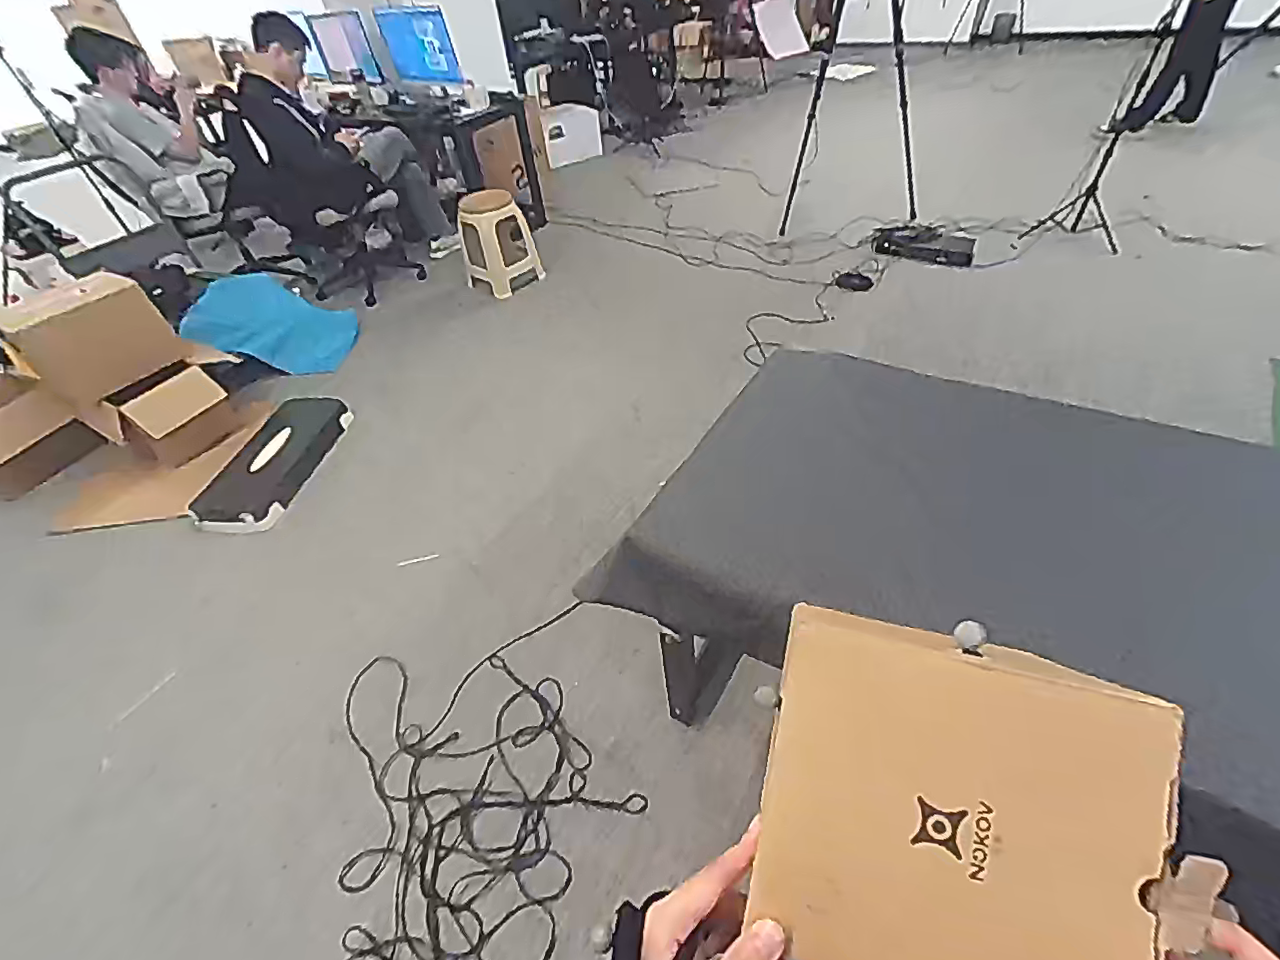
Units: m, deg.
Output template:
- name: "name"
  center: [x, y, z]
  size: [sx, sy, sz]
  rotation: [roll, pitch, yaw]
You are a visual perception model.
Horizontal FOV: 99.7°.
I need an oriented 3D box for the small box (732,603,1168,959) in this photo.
- name: "small box"
  center: [0.166, 0.179, 0.340]
  size: [0.179, 0.176, 0.168]
  rotation: [10, 82, 16]
